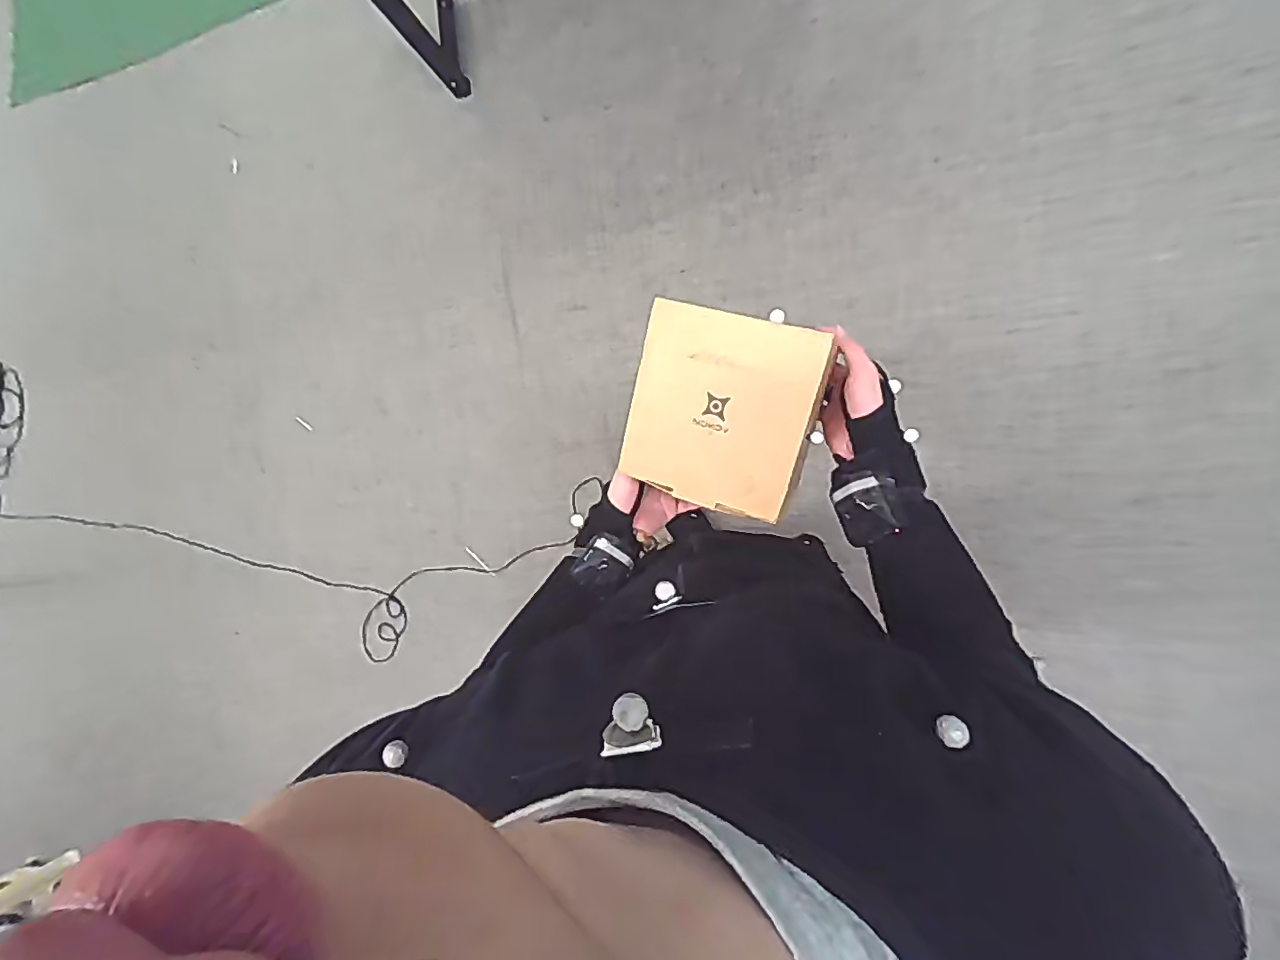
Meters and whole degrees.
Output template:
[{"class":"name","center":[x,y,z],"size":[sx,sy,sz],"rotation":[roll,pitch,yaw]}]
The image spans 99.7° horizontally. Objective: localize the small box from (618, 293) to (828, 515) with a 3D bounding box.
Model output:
[{"class":"small box","center":[0.096,-0.085,0.575],"size":[0.168,0.176,0.179],"rotation":[17,106,17]}]
